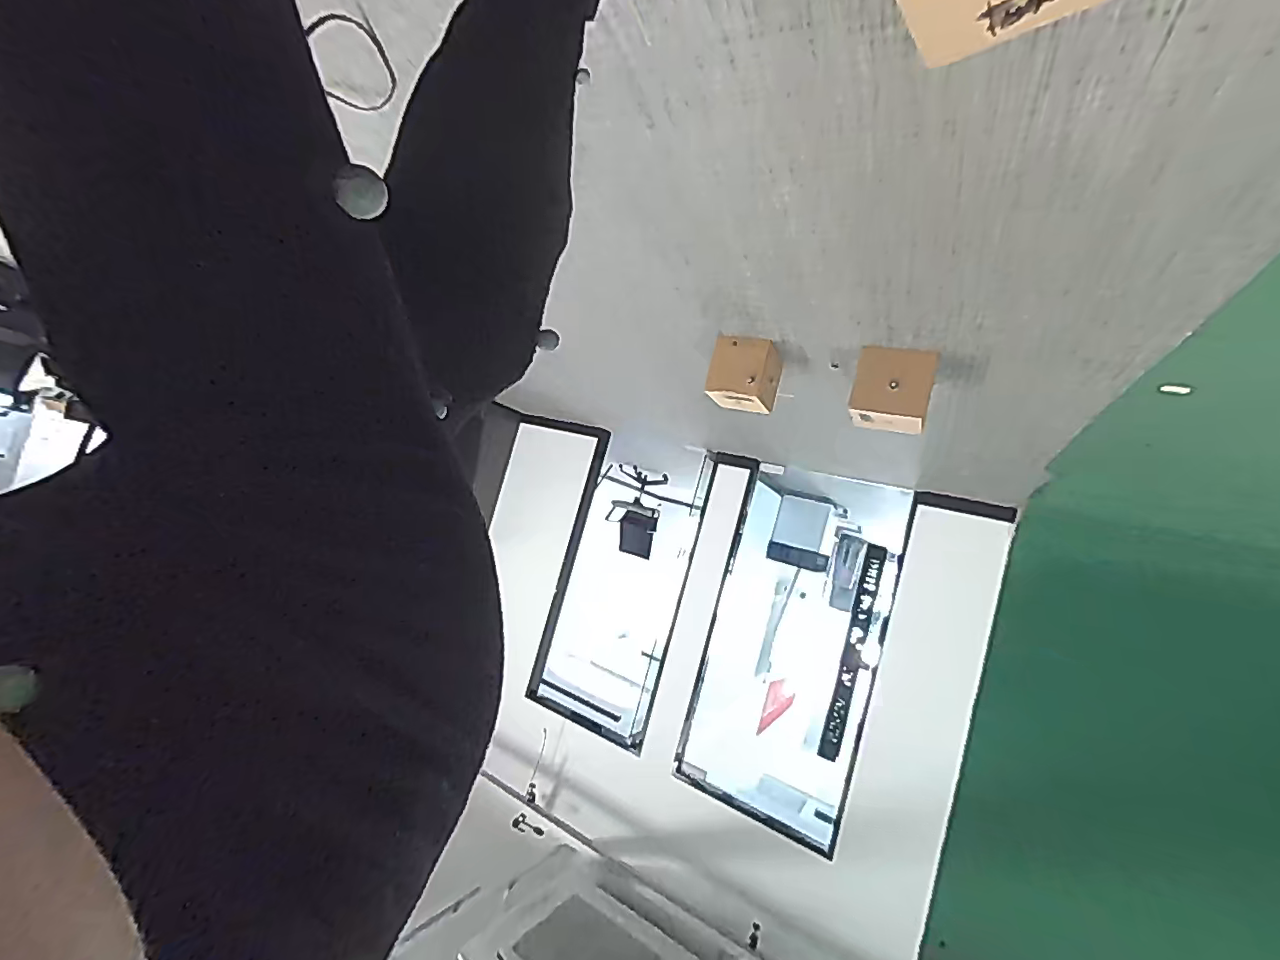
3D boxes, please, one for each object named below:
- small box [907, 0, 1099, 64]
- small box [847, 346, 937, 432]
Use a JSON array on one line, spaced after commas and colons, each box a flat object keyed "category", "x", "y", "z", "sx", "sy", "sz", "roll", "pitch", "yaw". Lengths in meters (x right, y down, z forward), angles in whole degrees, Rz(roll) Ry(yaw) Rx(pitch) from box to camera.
[{"category": "small box", "x": 0.255, "y": -0.422, "z": 0.324, "sx": 0.179, "sy": 0.176, "sz": 0.168, "roll": 20, "pitch": 174, "yaw": -44}, {"category": "small box", "x": 0.650, "y": -0.237, "z": 1.397, "sx": 0.179, "sy": 0.176, "sz": 0.168, "roll": 12, "pitch": 176, "yaw": 28}]
